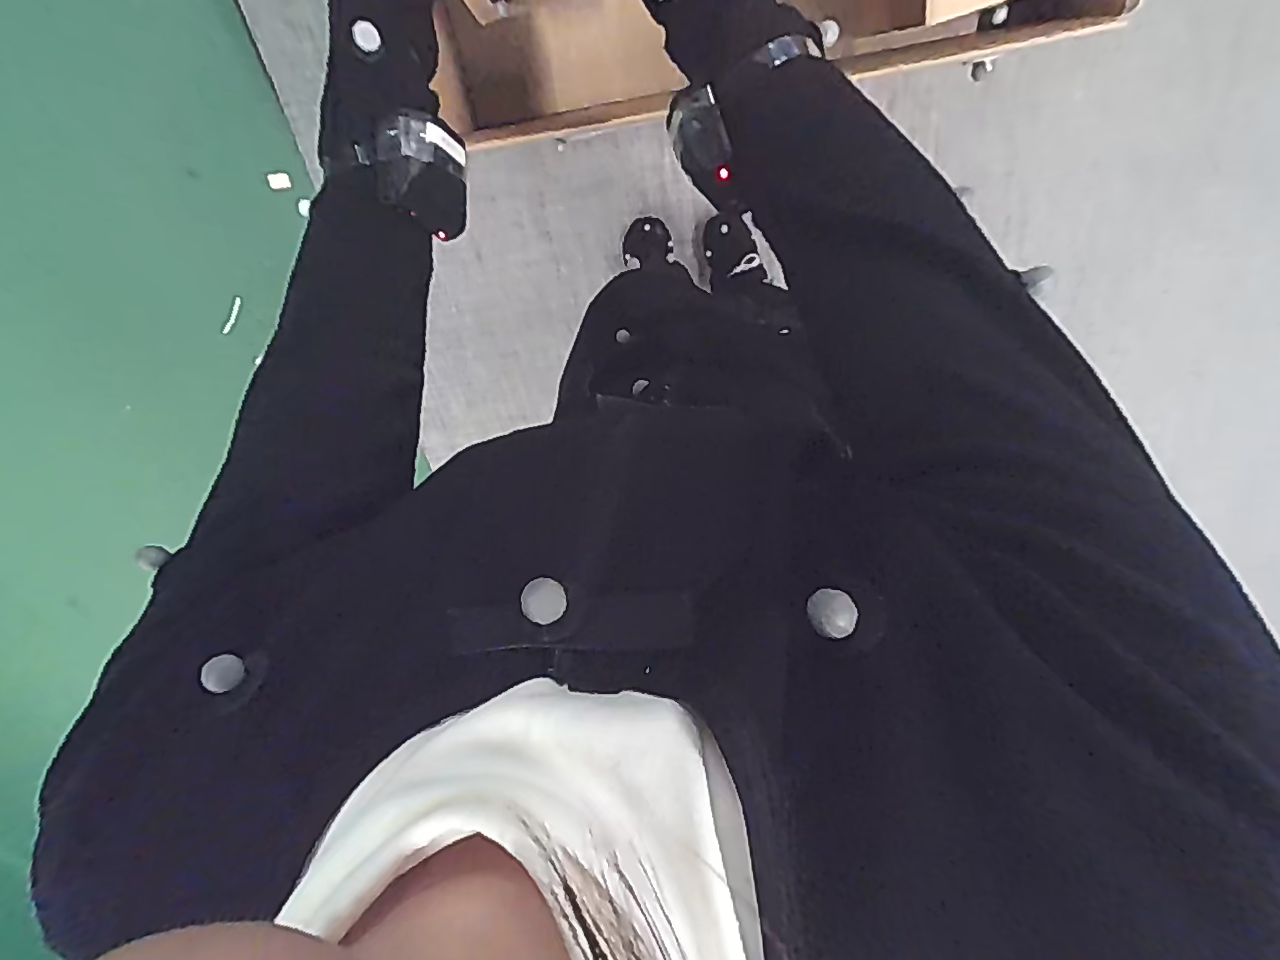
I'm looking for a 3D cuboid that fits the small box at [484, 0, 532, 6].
[{"bbox_3d":[-0.094,-0.500,0.397,0.168,0.176,0.179,-8,102,10],"label":"small box"}]
